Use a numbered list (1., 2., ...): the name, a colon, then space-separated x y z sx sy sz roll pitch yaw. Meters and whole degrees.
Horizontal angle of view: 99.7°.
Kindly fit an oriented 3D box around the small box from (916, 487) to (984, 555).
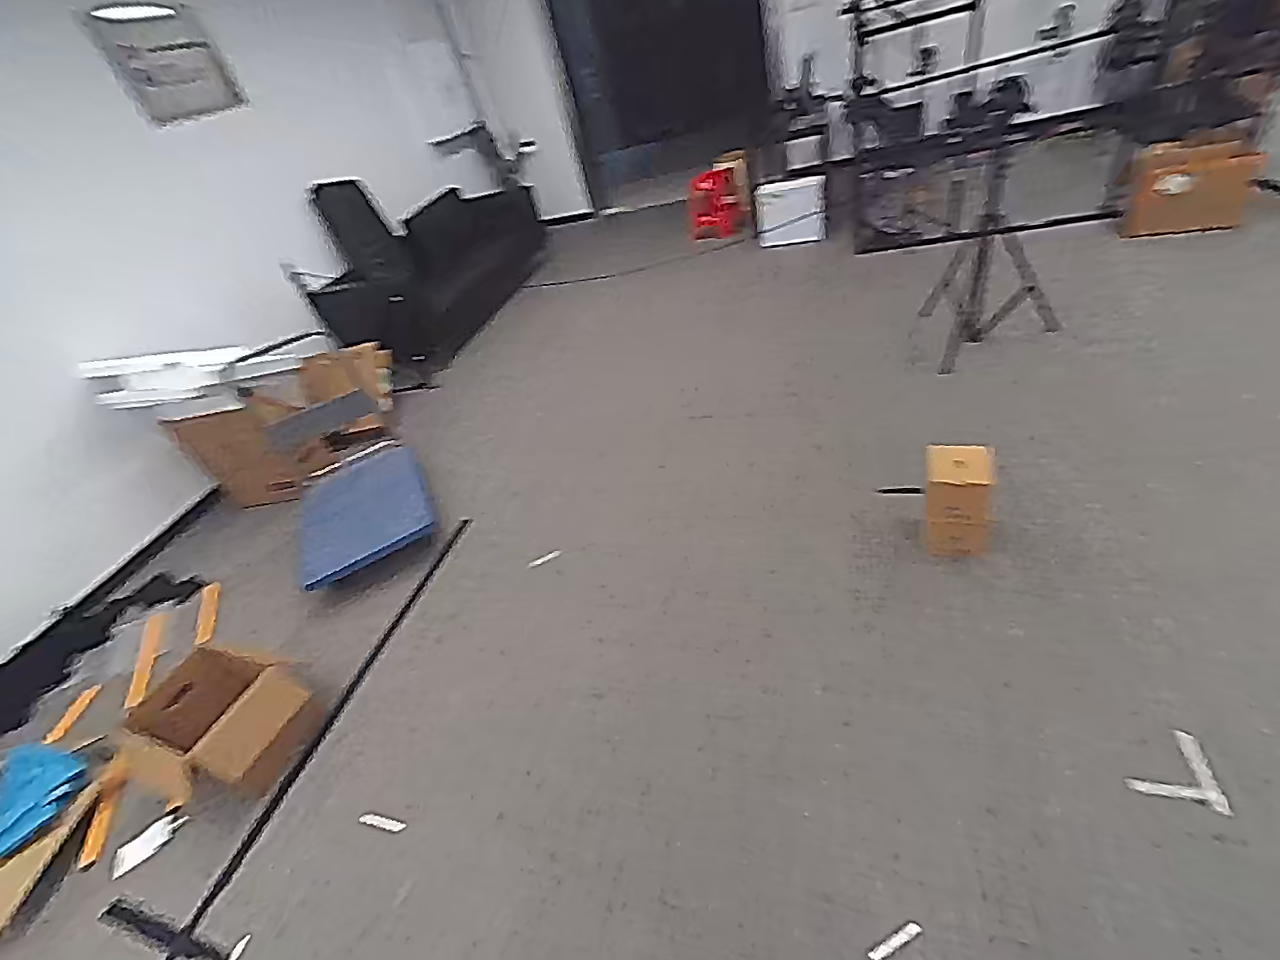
1. small box: 1.024 0.133 1.800 0.168 0.176 0.179 -2 40 19

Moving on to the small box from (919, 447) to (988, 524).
1. small box: 0.977 0.014 1.698 0.168 0.176 0.179 2 43 24
